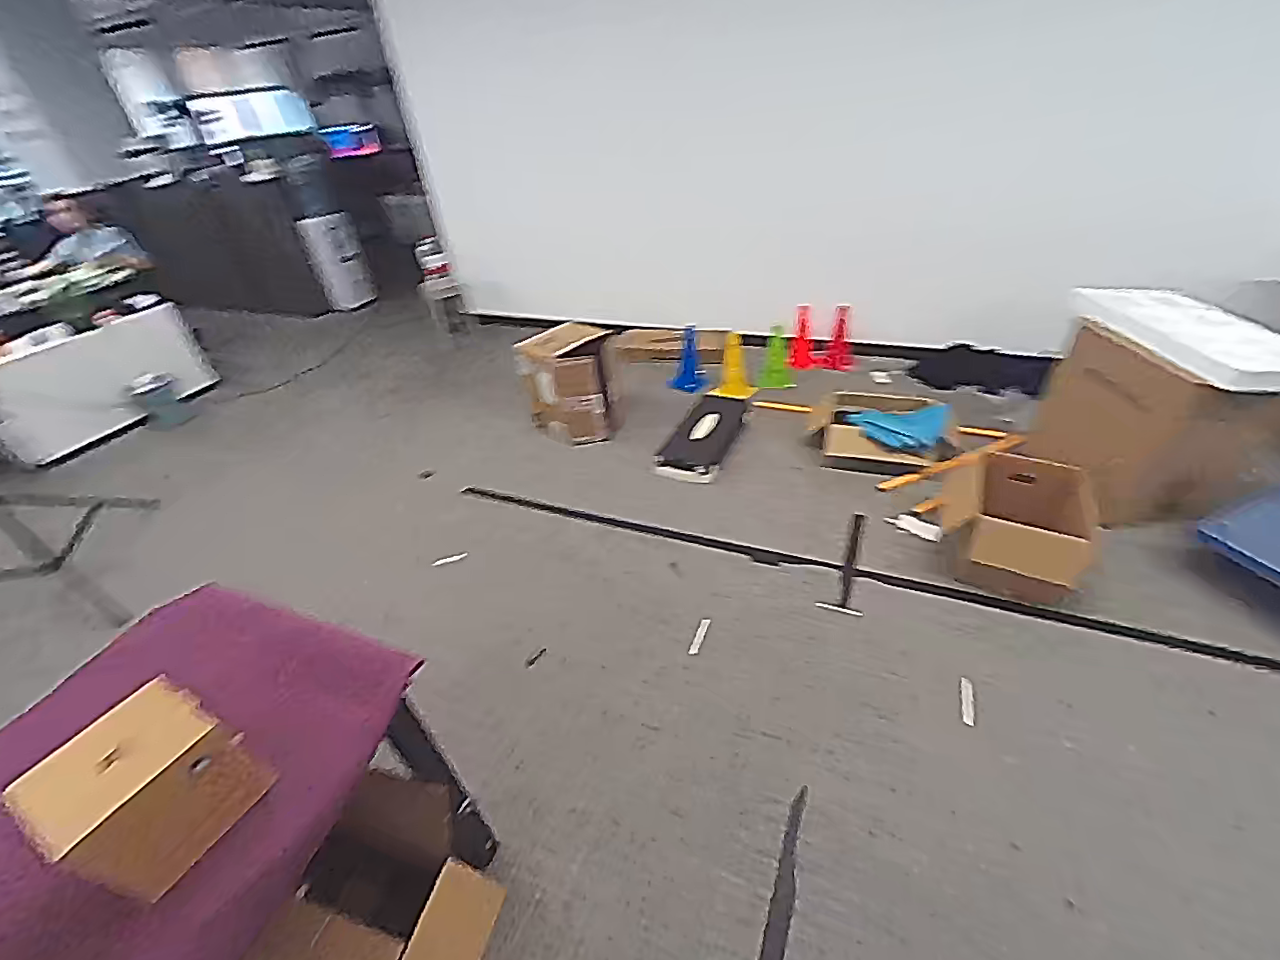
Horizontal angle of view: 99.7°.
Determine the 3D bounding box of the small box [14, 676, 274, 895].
[{"bbox_3d":[-0.658,0.414,0.738,0.168,0.176,0.179,14,41,26],"label":"small box"}]
